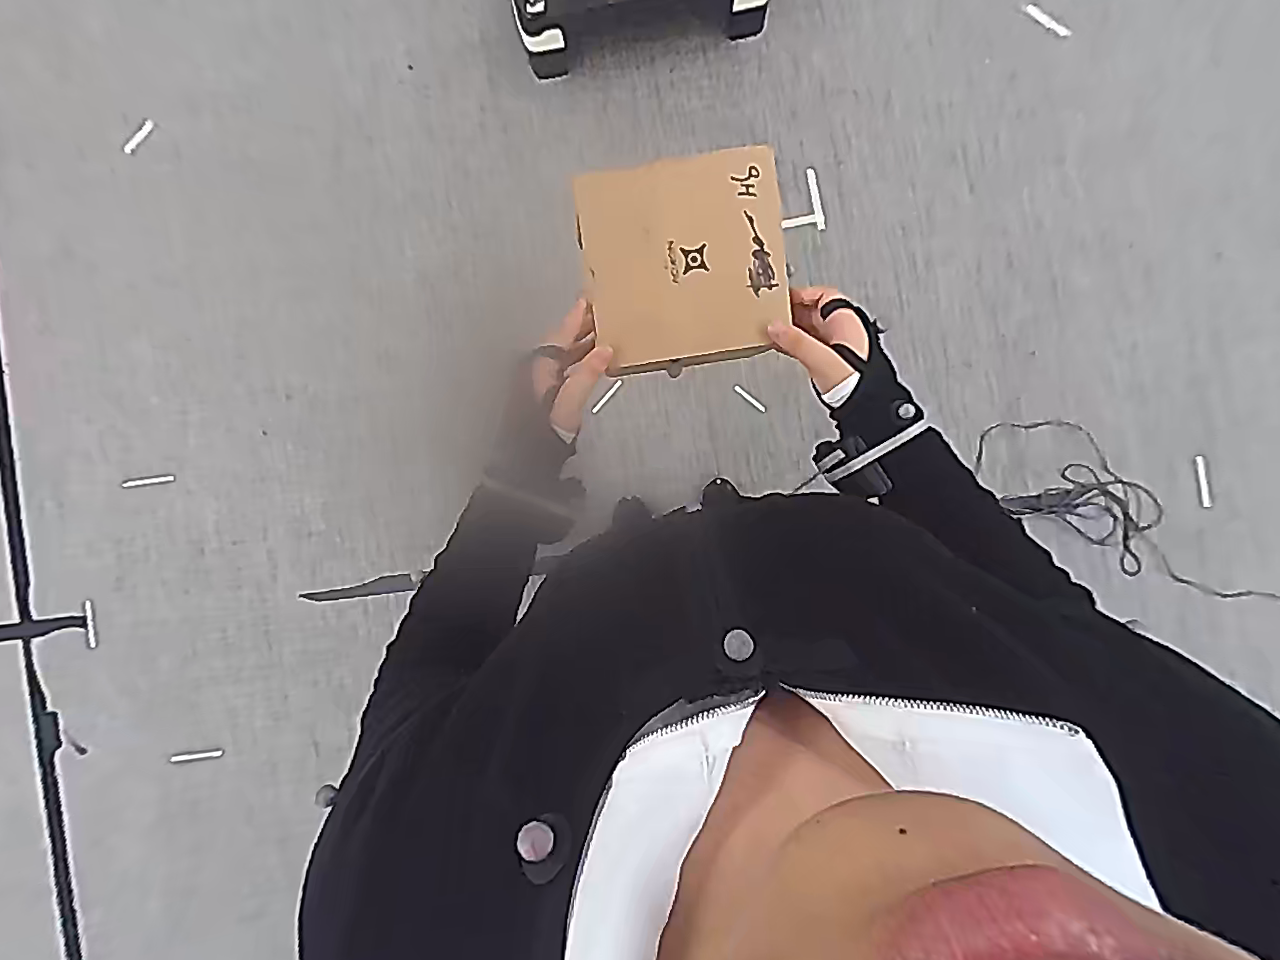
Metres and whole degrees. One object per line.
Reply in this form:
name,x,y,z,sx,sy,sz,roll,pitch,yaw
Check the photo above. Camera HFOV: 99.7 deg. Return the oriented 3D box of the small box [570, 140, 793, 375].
small box,0.038,-0.202,0.540,0.179,0.176,0.168,-8,97,1
